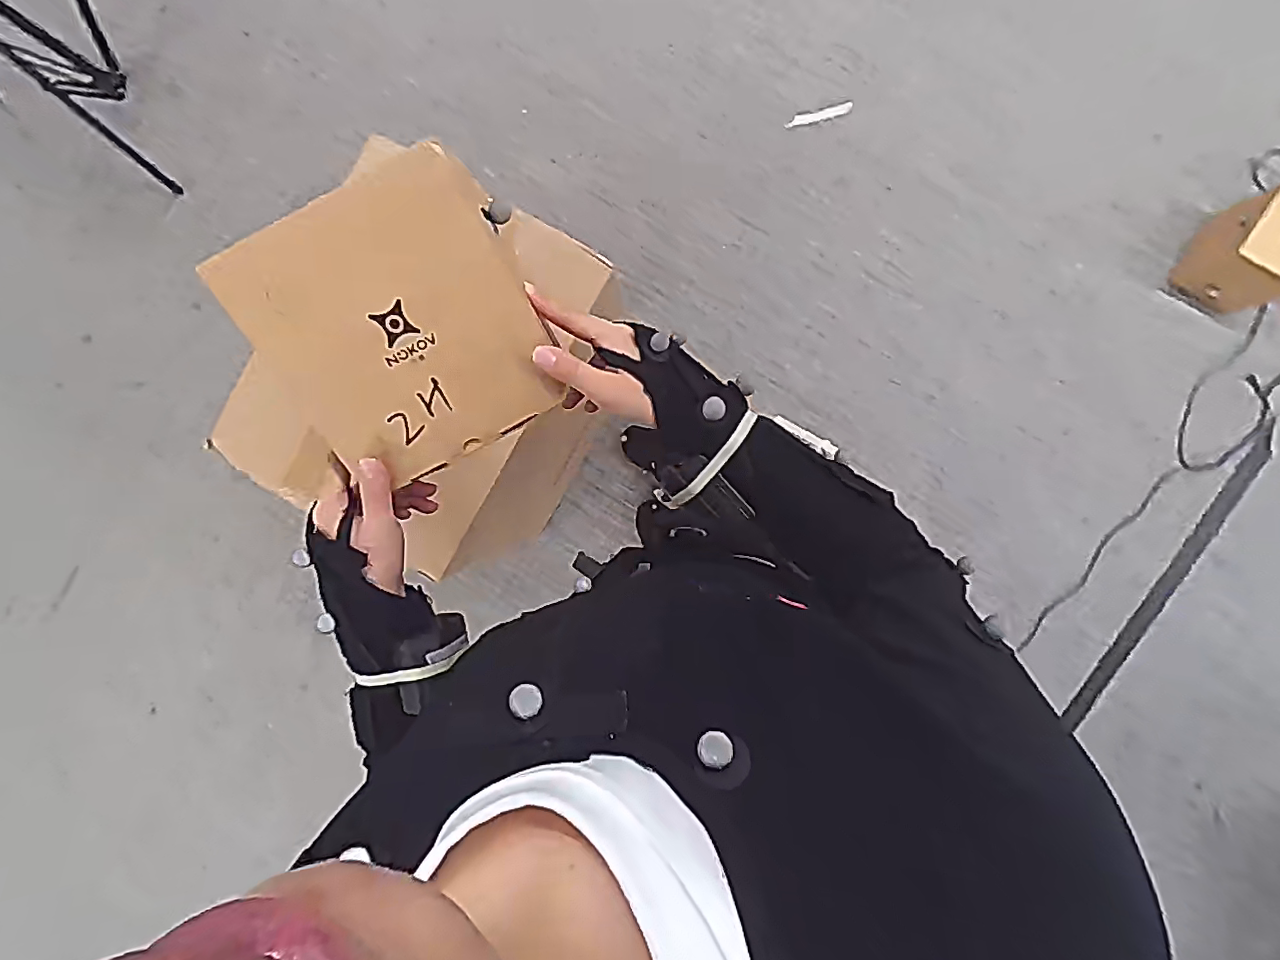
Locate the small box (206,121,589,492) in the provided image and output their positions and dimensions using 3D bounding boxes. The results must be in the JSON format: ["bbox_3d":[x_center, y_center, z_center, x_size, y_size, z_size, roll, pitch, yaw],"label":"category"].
[{"bbox_3d":[-0.152,-0.123,0.410,0.168,0.176,0.179,-26,111,2],"label":"small box"}]

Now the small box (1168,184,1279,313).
[{"bbox_3d":[1.357,-0.504,1.204,0.168,0.176,0.179,31,93,3],"label":"small box"}]
